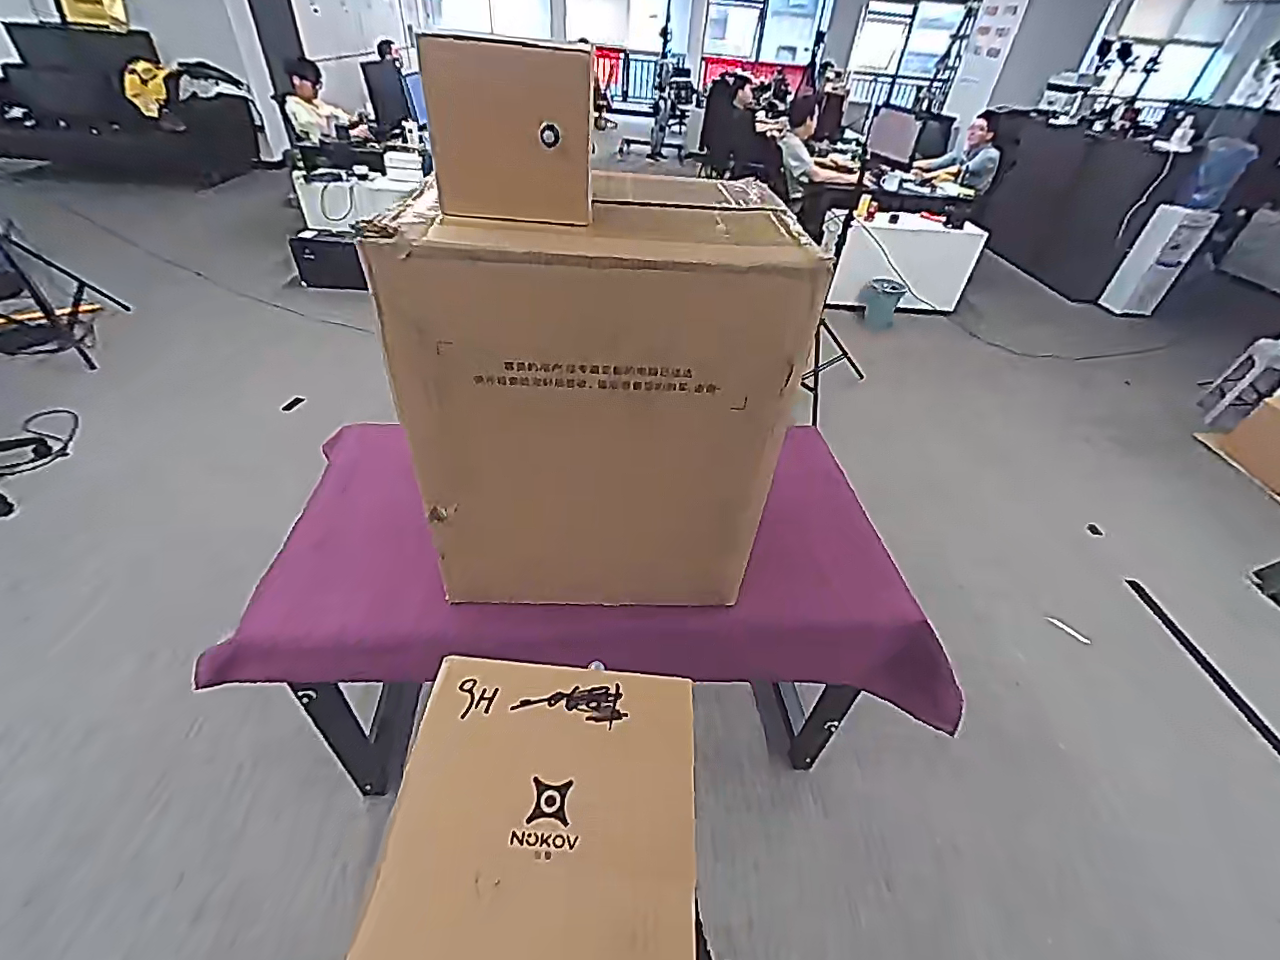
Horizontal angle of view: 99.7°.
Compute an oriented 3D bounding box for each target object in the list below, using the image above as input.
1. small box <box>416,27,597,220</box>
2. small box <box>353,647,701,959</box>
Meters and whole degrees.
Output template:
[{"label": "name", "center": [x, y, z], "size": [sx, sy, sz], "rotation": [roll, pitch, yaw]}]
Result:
[{"label": "small box", "center": [-0.142, -0.421, 0.644], "size": [0.179, 0.176, 0.168], "rotation": [1, 40, -5]}, {"label": "small box", "center": [-0.054, 0.233, 0.353], "size": [0.168, 0.176, 0.179], "rotation": [6, 47, -2]}]
